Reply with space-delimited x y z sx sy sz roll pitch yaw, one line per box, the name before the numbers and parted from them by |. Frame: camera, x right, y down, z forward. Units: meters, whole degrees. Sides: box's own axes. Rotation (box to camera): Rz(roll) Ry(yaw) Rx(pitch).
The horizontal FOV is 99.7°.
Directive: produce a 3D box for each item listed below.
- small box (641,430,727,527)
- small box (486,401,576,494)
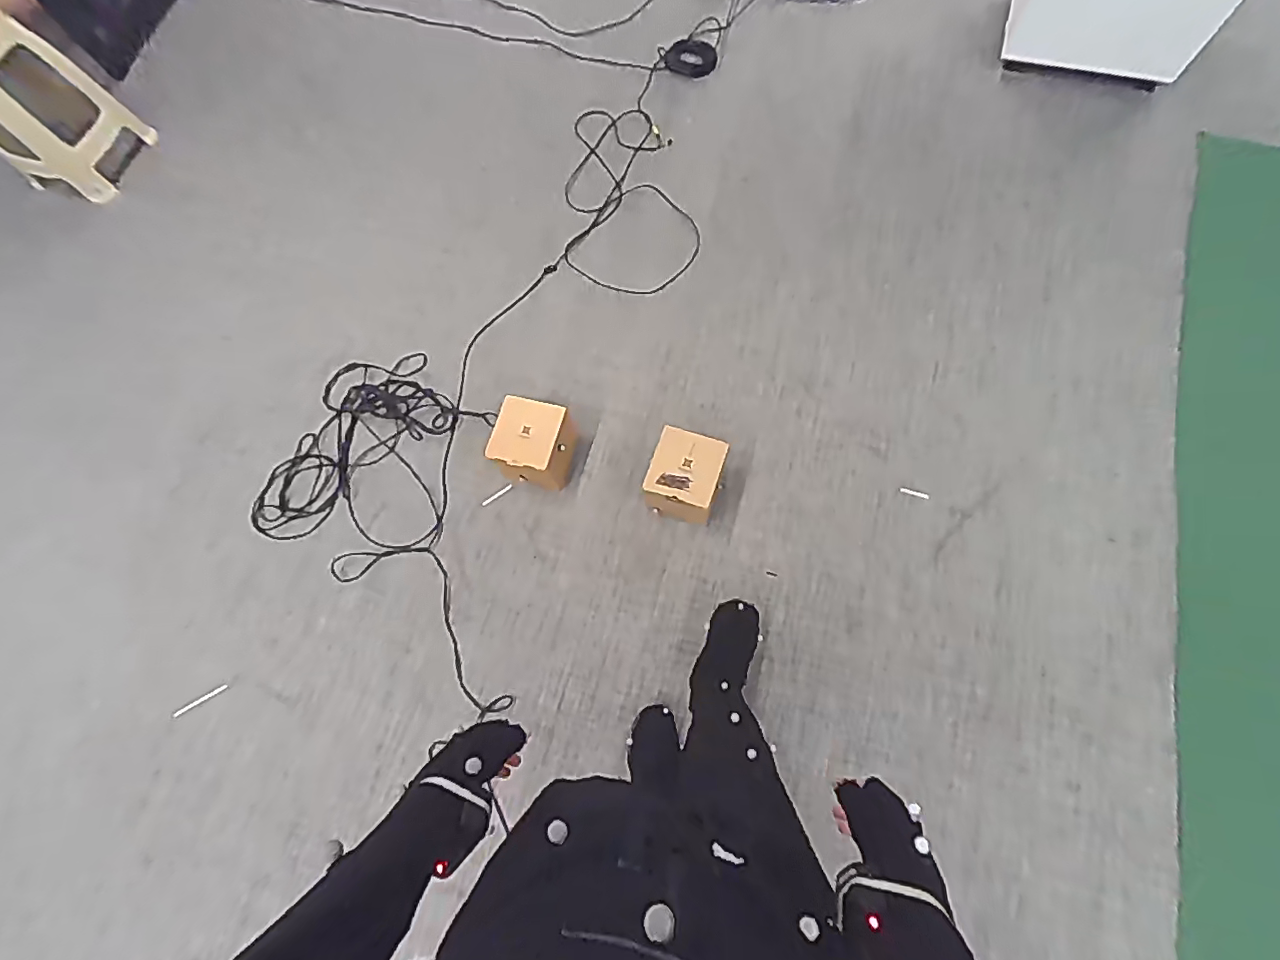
small box | 0.114 0.004 1.359 0.168 0.176 0.179 18 74 10
small box | -0.275 -0.081 1.422 0.168 0.176 0.179 13 74 9
